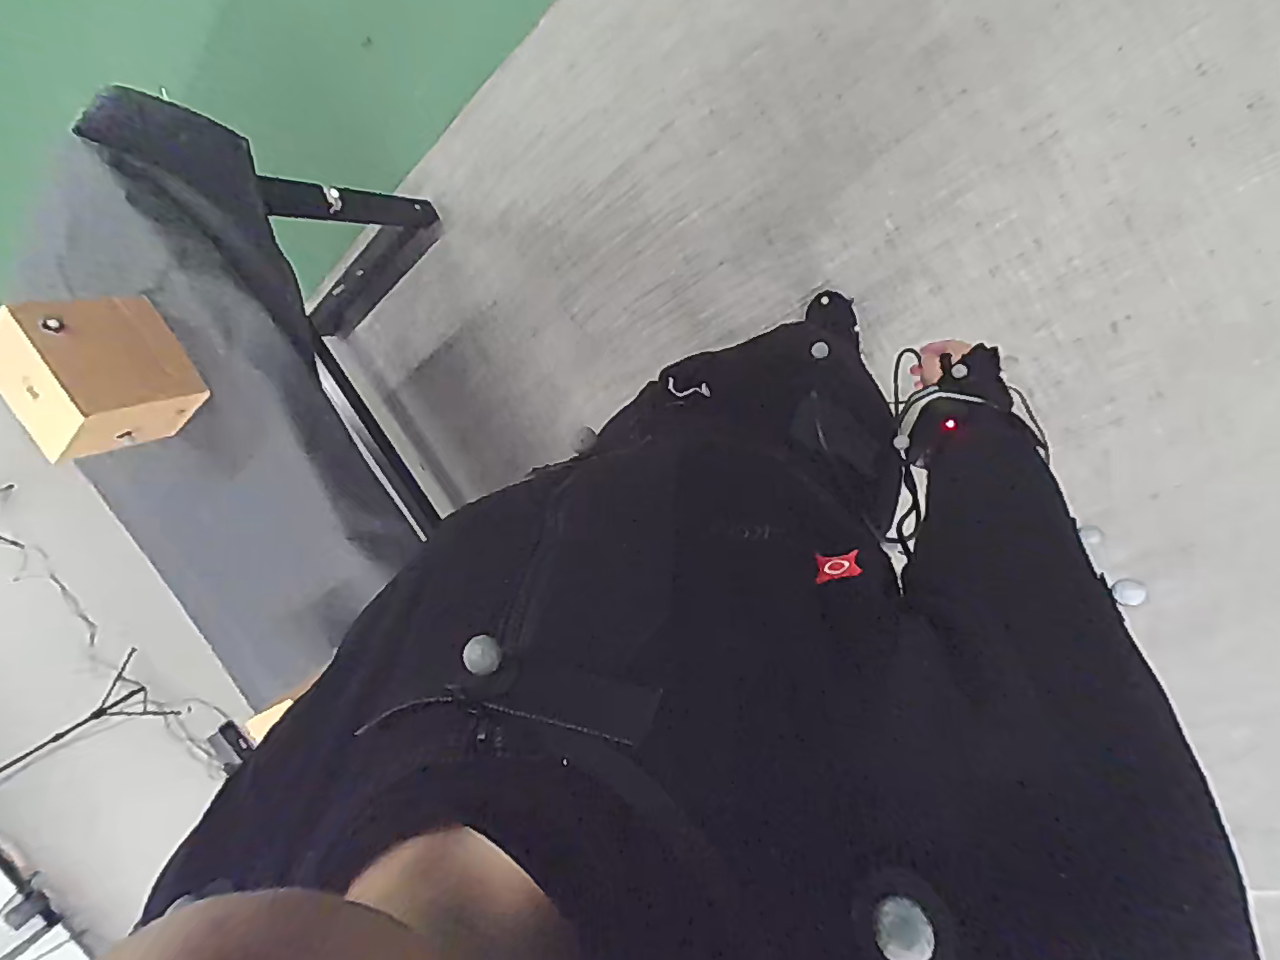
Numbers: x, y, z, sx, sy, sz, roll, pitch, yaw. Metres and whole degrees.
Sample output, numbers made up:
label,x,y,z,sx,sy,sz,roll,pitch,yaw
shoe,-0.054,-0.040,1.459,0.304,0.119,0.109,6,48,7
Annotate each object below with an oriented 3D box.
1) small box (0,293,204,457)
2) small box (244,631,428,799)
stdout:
label,x,y,z,sx,sy,sz,roll,pitch,yaw
small box,-0.818,-0.164,0.818,0.168,0.176,0.179,-25,99,29
small box,-0.493,0.385,0.898,0.168,0.176,0.179,-29,96,28
